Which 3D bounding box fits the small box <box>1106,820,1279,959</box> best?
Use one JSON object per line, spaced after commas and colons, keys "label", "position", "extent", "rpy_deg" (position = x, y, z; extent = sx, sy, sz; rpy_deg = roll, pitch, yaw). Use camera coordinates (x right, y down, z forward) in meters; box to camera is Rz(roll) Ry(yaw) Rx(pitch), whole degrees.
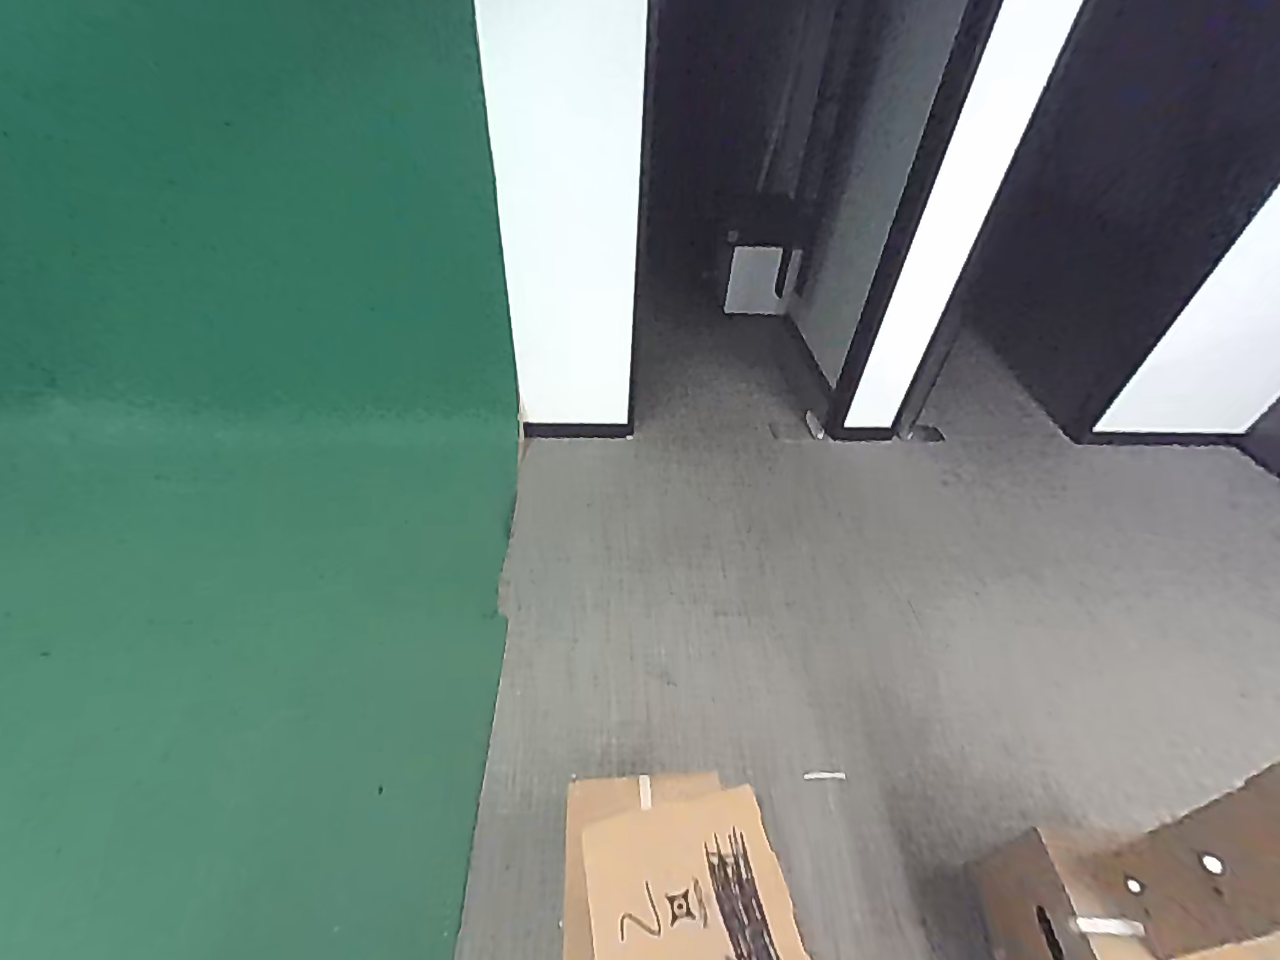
{"label": "small box", "position": [0.974, 0.714, 0.928], "extent": [0.179, 0.176, 0.168], "rpy_deg": [6, 40, 3]}

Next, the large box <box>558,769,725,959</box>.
{"label": "large box", "position": [0.010, 0.848, 1.062], "extent": [0.320, 0.320, 0.408], "rpy_deg": [0, 41, -5]}

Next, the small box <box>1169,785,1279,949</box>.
{"label": "small box", "position": [0.986, 0.592, 0.818], "extent": [0.179, 0.176, 0.168], "rpy_deg": [7, 40, 4]}

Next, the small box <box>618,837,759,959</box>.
{"label": "small box", "position": [0.057, 0.604, 0.725], "extent": [0.168, 0.176, 0.179], "rpy_deg": [2, 41, -4]}
